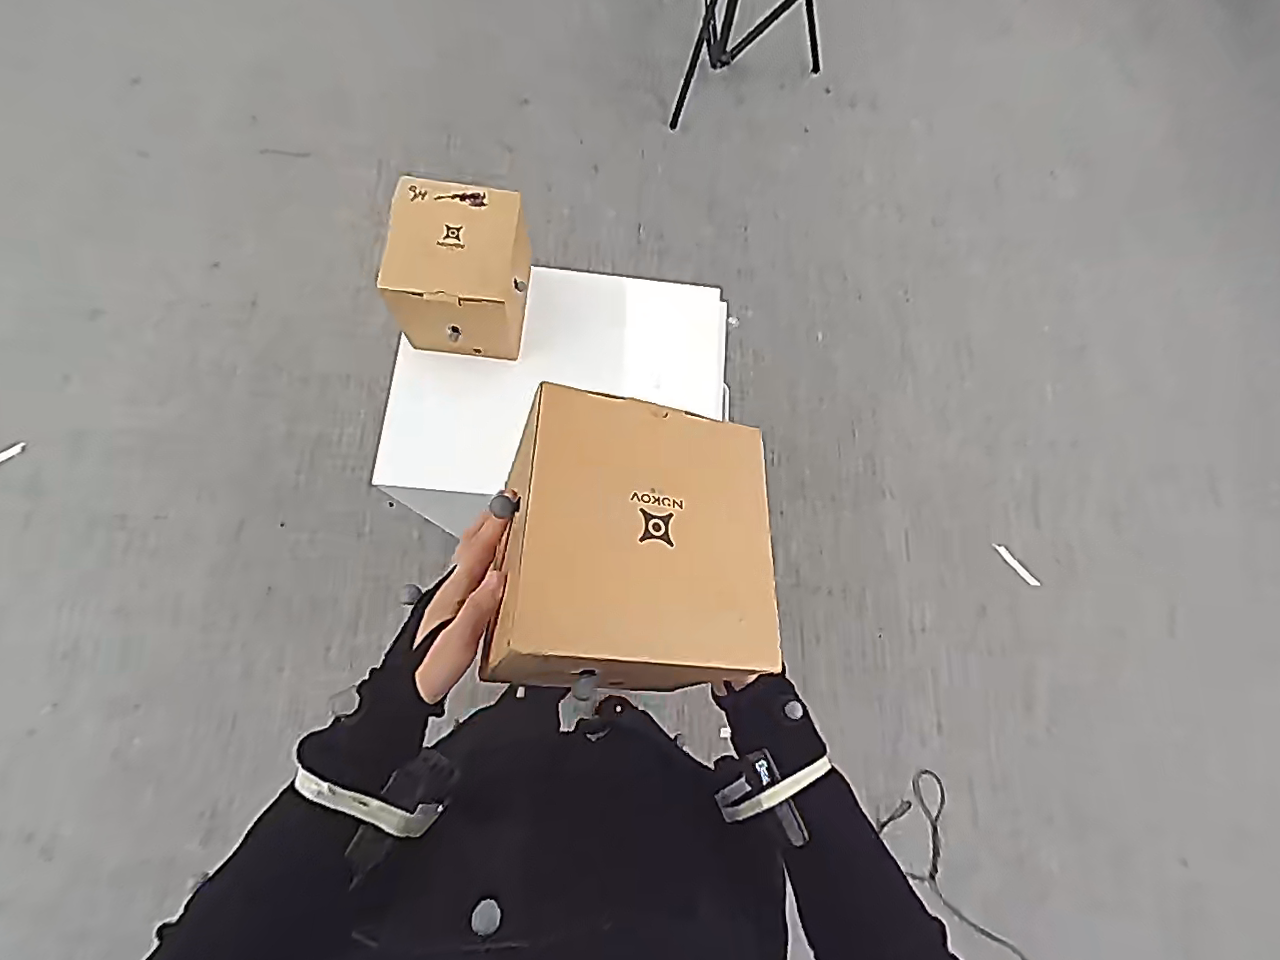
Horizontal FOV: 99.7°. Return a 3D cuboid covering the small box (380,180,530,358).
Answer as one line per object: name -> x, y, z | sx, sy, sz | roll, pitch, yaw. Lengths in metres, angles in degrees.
small box -> -0.257, -0.297, 0.796 | 0.168, 0.176, 0.179 | 5, 77, -6

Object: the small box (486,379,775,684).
small box -> -0.019, 0.055, 0.413 | 0.168, 0.176, 0.179 | 10, 62, -18
